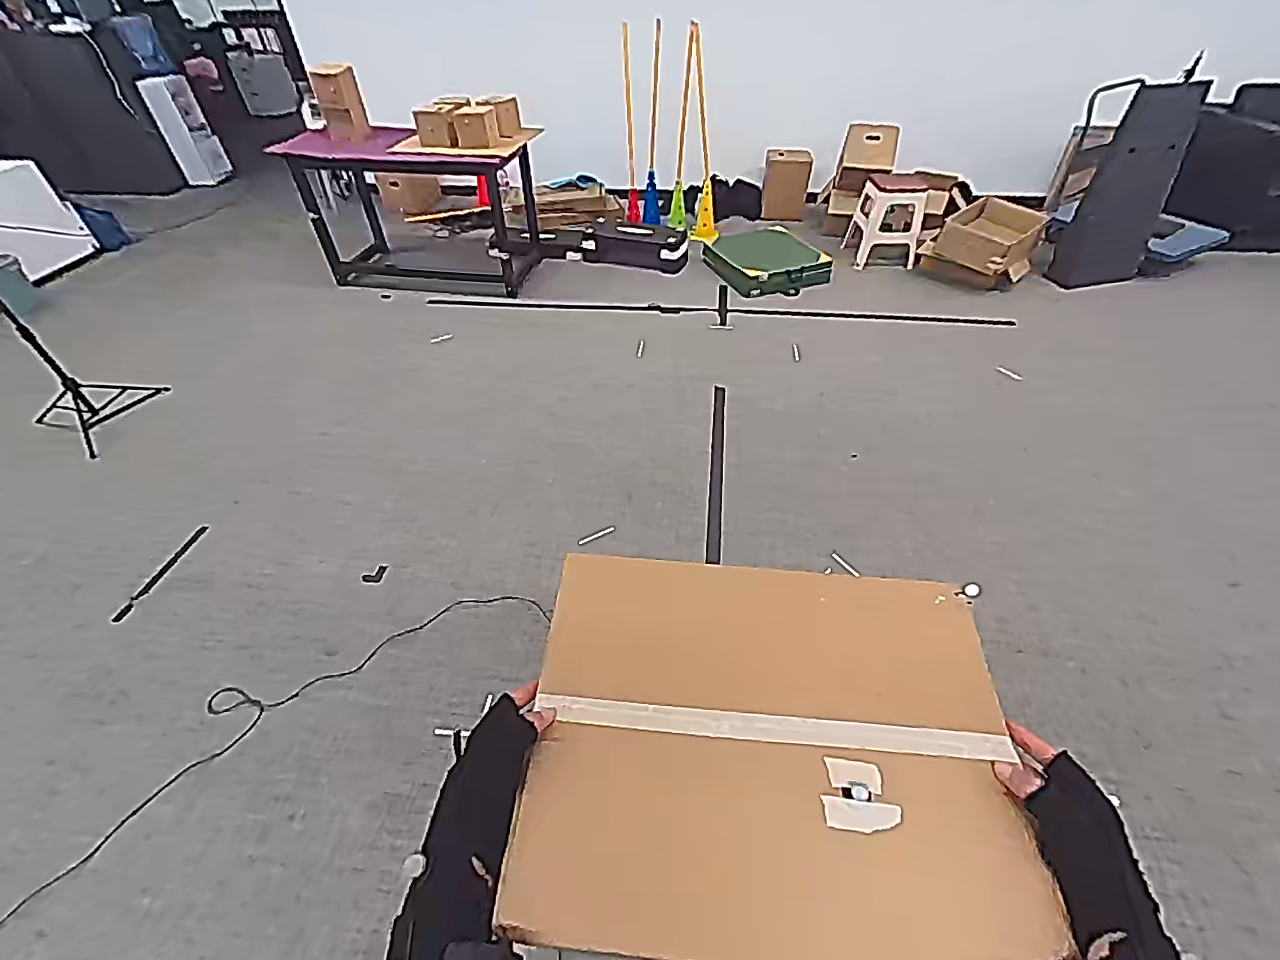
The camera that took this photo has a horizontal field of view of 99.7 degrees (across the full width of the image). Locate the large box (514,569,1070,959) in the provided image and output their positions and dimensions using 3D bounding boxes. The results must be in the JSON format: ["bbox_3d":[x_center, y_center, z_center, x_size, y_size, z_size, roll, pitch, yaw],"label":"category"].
[{"bbox_3d":[0.114,0.317,0.588,0.408,0.320,0.320,4,52,3],"label":"large box"}]
